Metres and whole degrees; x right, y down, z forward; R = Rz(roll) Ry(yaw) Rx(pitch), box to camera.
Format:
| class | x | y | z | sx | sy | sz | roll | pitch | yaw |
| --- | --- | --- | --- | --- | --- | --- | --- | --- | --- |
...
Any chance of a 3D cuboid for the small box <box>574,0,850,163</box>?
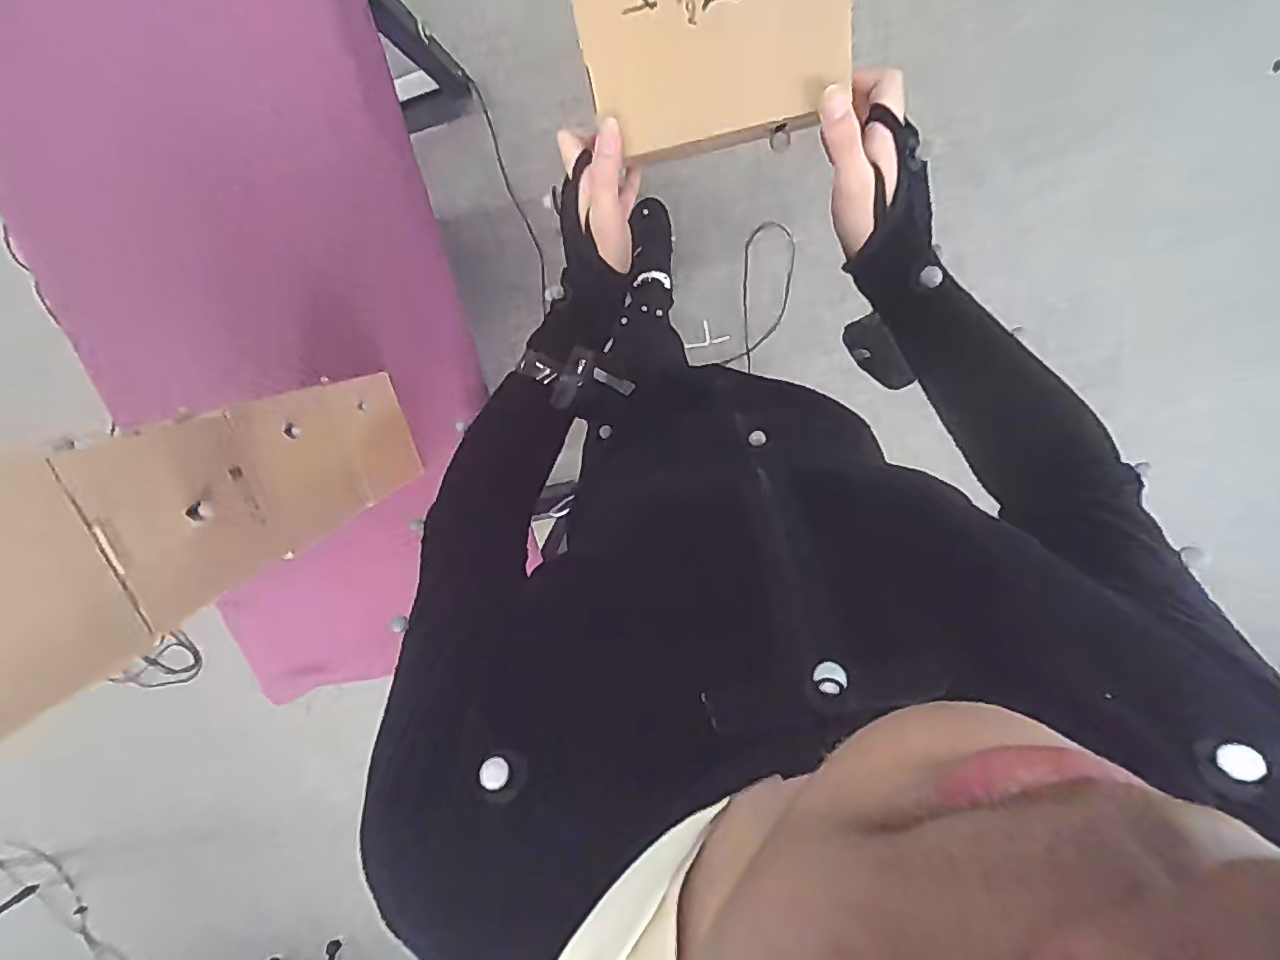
| class | x | y | z | sx | sy | sz | roll | pitch | yaw |
| --- | --- | --- | --- | --- | --- | --- | --- | --- | --- |
| small box | 0.055 | -0.356 | 0.415 | 0.179 | 0.176 | 0.168 | -5 | 116 | 15 |

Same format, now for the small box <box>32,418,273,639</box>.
| class | x | y | z | sx | sy | sz | roll | pitch | yaw |
| --- | --- | --- | --- | --- | --- | --- | --- | --- | --- |
| small box | -0.498 | 0.048 | 0.518 | 0.179 | 0.176 | 0.168 | -12 | 106 | 8 |

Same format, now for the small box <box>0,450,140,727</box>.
| class | x | y | z | sx | sy | sz | roll | pitch | yaw |
| --- | --- | --- | --- | --- | --- | --- | --- | --- | --- |
| small box | -0.507 | 0.096 | 0.361 | 0.168 | 0.176 | 0.179 | -12 | 106 | 9 |

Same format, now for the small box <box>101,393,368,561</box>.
| class | x | y | z | sx | sy | sz | roll | pitch | yaw |
| --- | --- | --- | --- | --- | --- | --- | --- | --- | --- |
| small box | -0.480 | -0.004 | 0.672 | 0.168 | 0.176 | 0.179 | -11 | 107 | 8 |
